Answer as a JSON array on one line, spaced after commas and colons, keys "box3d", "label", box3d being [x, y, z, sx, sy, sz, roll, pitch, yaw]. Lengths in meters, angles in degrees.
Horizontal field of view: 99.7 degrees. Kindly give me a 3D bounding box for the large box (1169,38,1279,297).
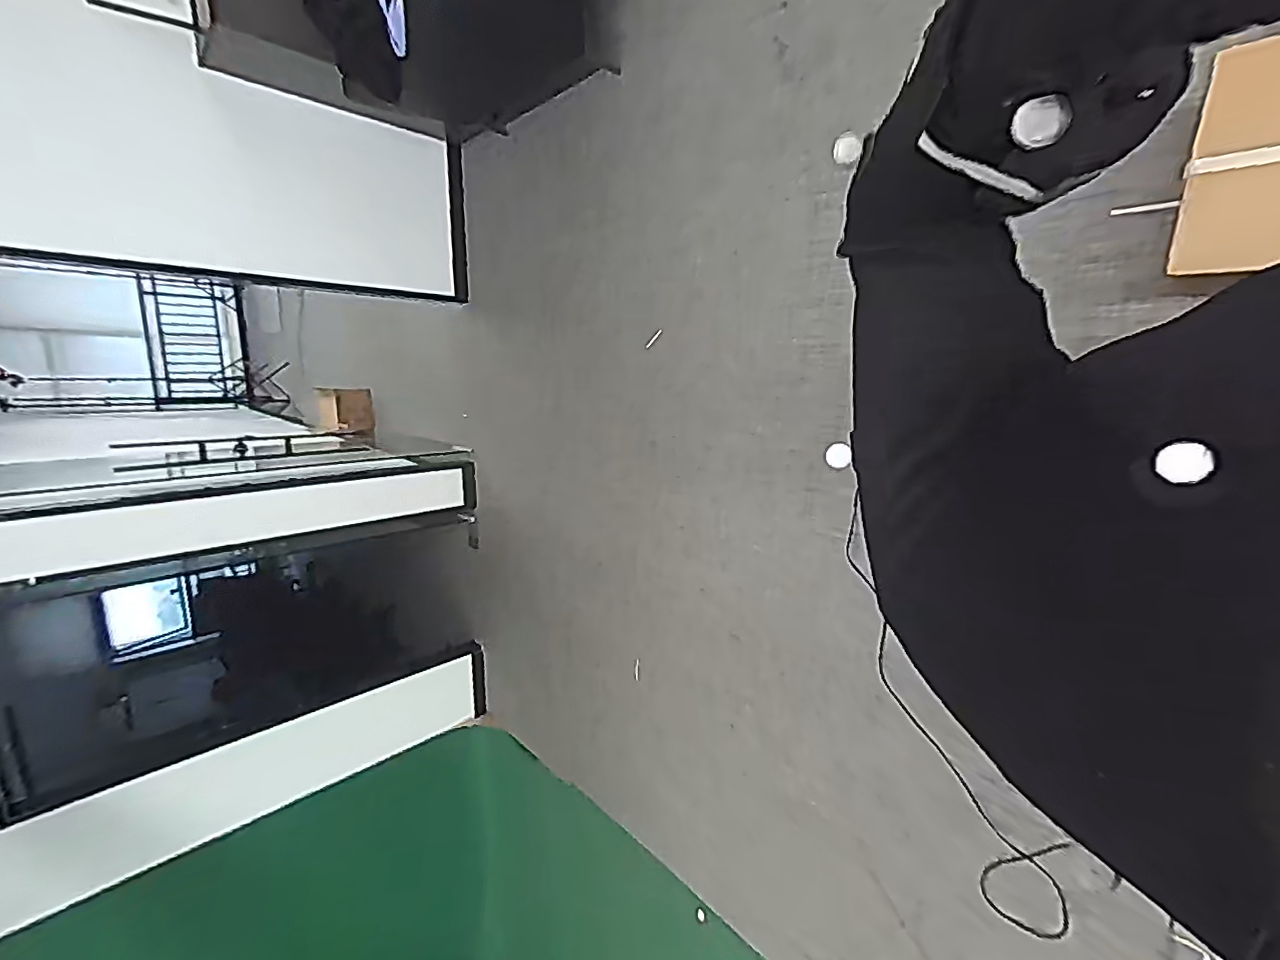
[{"box3d": [1.082, -0.458, 0.790, 0.408, 0.320, 0.320, 15, 107, 44], "label": "large box"}]
